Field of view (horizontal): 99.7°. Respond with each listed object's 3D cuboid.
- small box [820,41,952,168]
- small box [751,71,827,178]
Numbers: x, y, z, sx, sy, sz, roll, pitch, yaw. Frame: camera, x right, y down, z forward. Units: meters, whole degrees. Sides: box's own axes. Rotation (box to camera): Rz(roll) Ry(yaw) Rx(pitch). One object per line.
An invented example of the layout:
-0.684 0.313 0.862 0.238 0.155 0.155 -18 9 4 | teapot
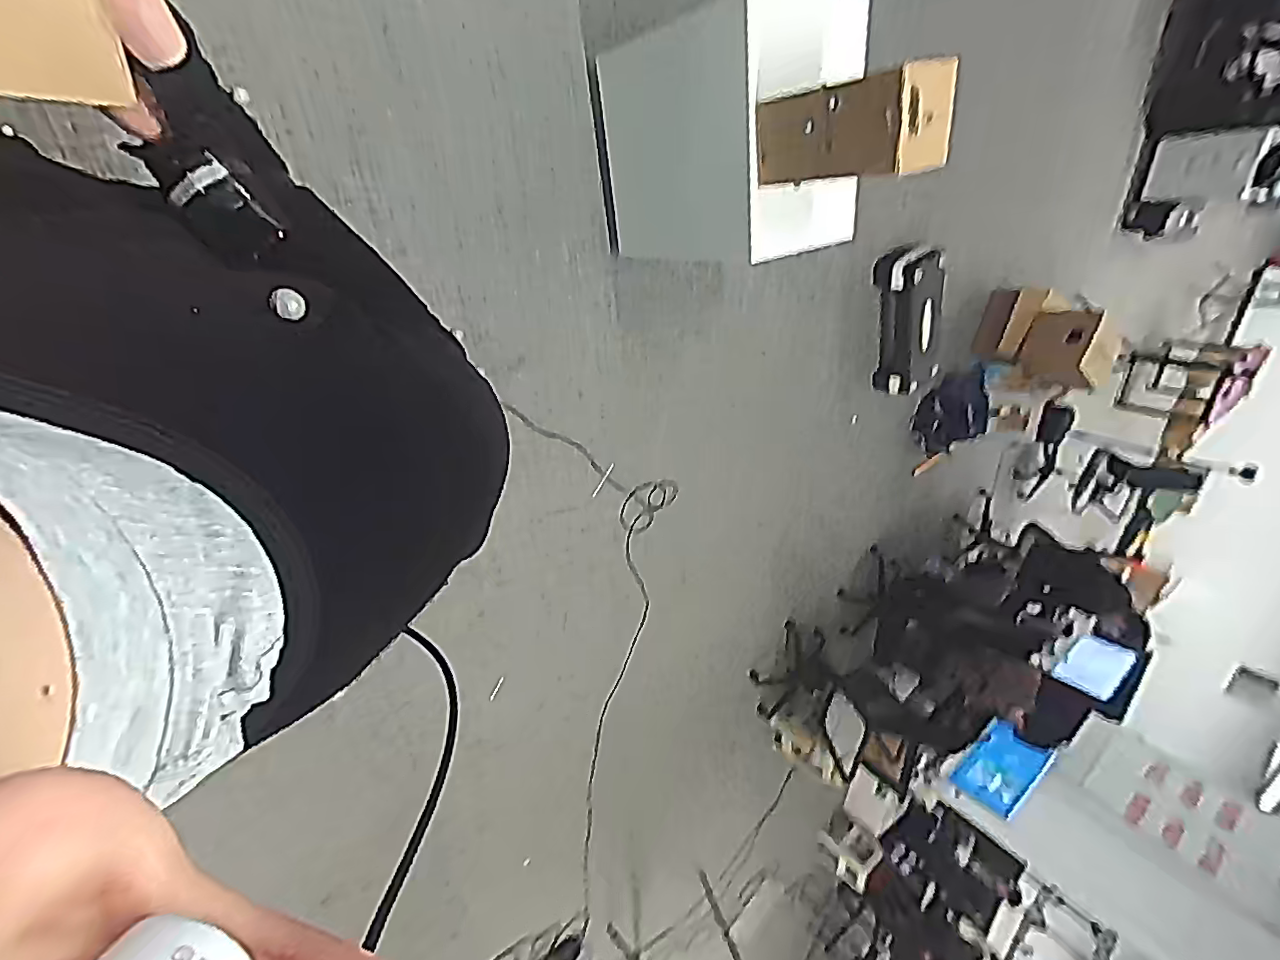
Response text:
0.461 -0.709 1.031 0.179 0.176 0.168 -30 125 -28 | small box
0.361 -0.758 1.152 0.179 0.176 0.168 -31 124 -28 | small box
